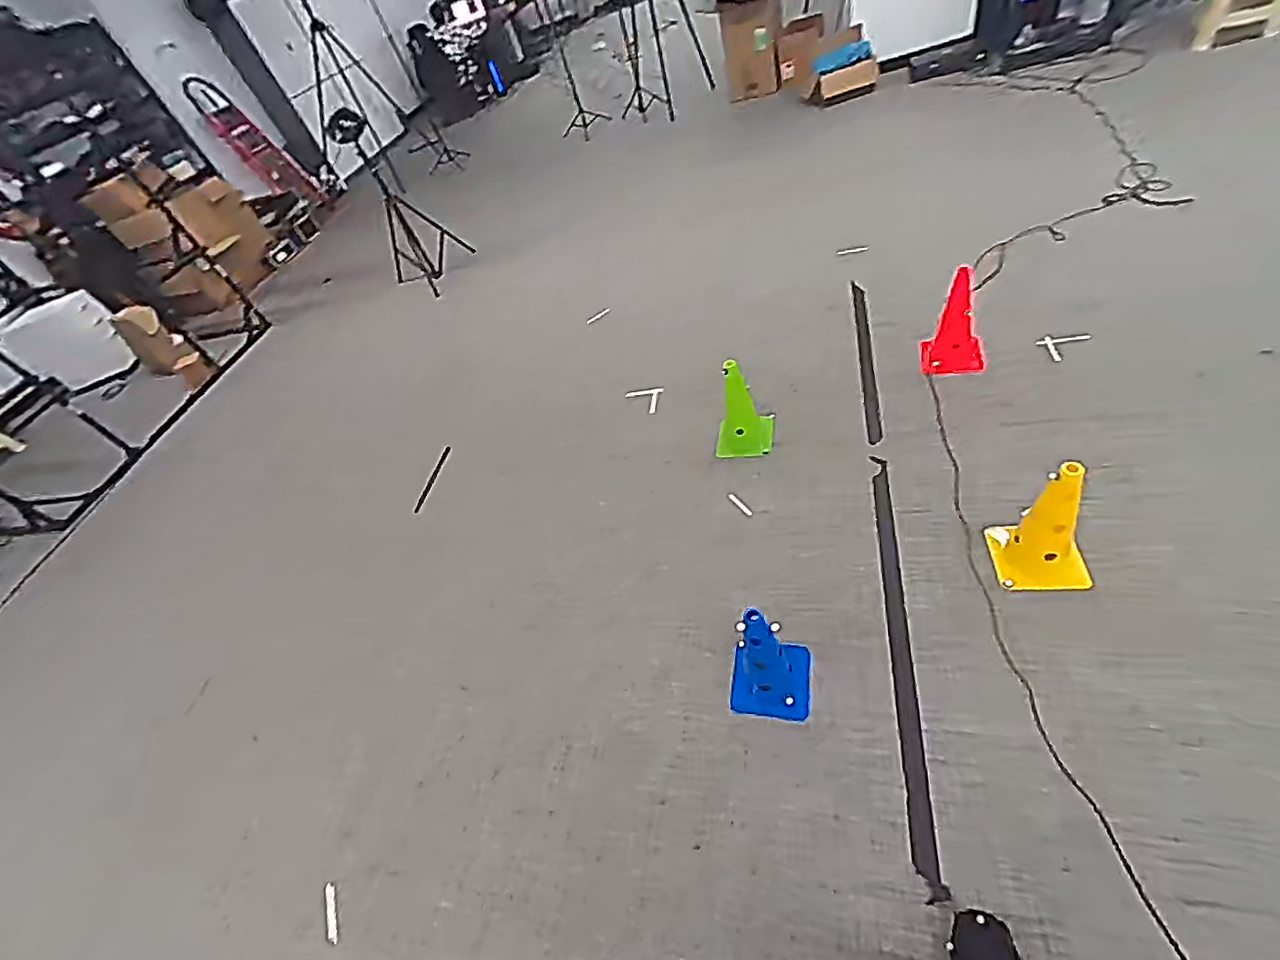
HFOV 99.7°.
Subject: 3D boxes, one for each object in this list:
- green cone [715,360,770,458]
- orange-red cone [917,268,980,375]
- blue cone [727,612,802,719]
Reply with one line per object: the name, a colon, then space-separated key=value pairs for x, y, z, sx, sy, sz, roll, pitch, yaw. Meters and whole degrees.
green cone: x=0.334 y=-0.273 z=1.914 sx=0.202 sy=0.368 sz=0.200 roll=-4 pitch=48 yaw=20
orange-red cone: x=1.093 y=-0.567 z=1.881 sx=0.199 sy=0.360 sz=0.198 roll=1 pitch=52 yaw=21
blue cone: x=0.282 y=0.425 z=1.319 sx=0.192 sy=0.380 sz=0.193 roll=-1 pitch=49 yaw=23
